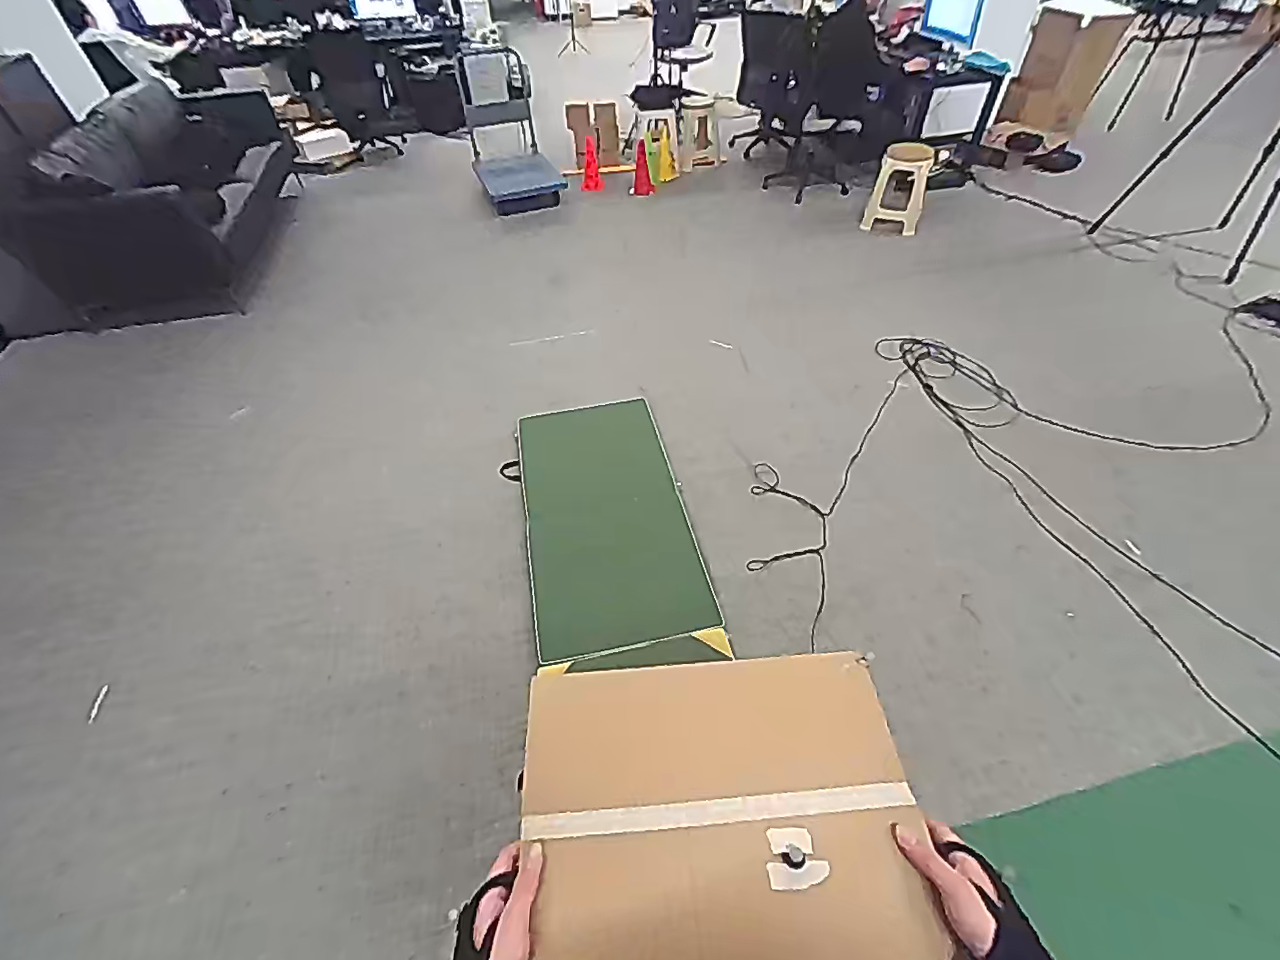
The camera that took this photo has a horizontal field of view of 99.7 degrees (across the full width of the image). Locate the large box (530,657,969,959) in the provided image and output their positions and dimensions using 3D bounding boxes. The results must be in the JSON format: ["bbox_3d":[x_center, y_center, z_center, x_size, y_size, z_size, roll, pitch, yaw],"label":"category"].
[{"bbox_3d":[0.090,0.450,0.676,0.408,0.320,0.320,-4,49,-1],"label":"large box"}]
